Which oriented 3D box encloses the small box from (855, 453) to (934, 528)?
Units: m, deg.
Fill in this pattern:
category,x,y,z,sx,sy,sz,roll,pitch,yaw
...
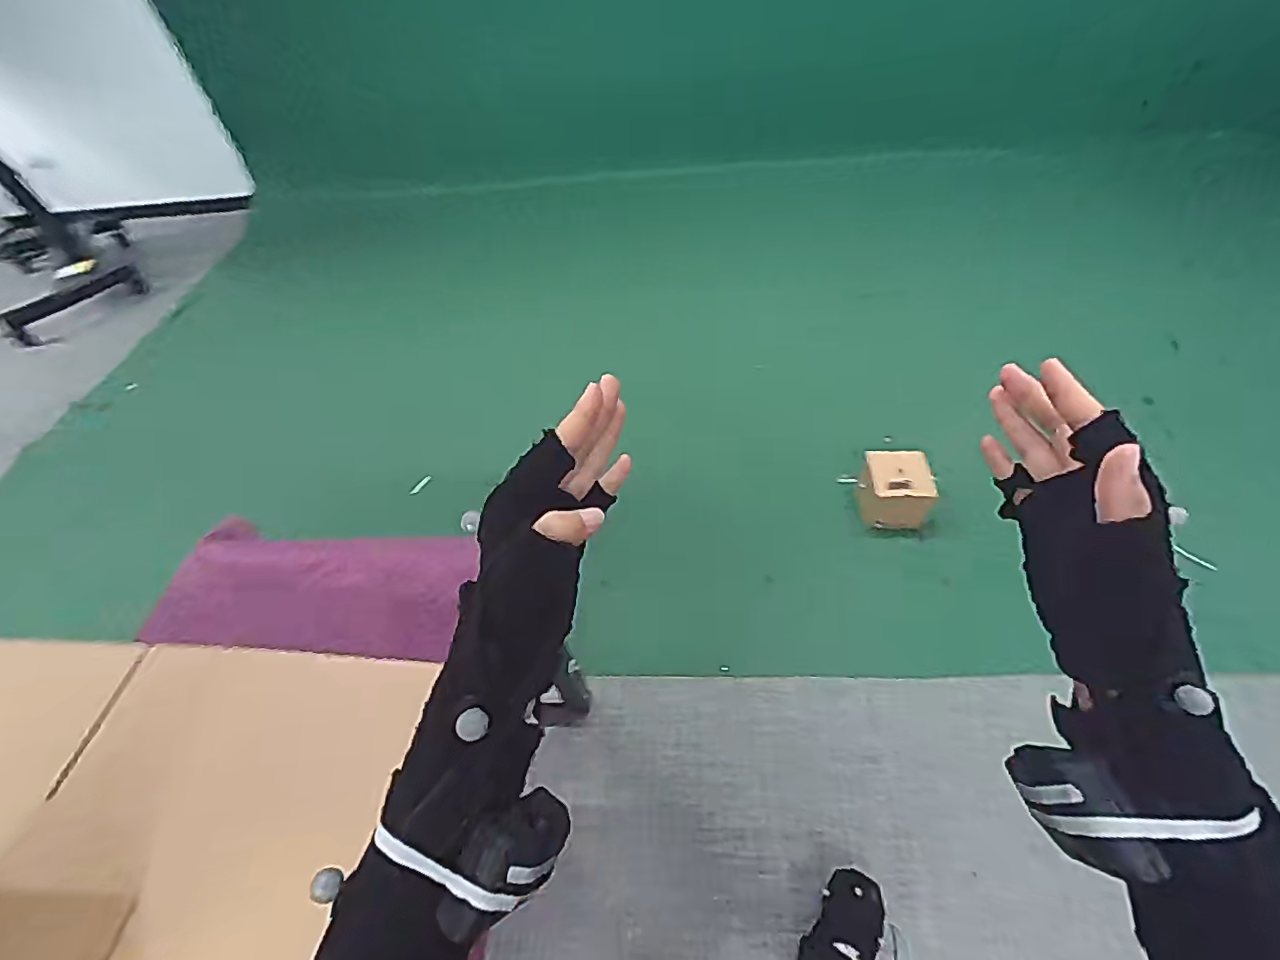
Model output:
category,x,y,z,sx,sy,sz,roll,pitch,yaw
small box,0.775,0.037,1.666,0.168,0.176,0.179,0,51,6
